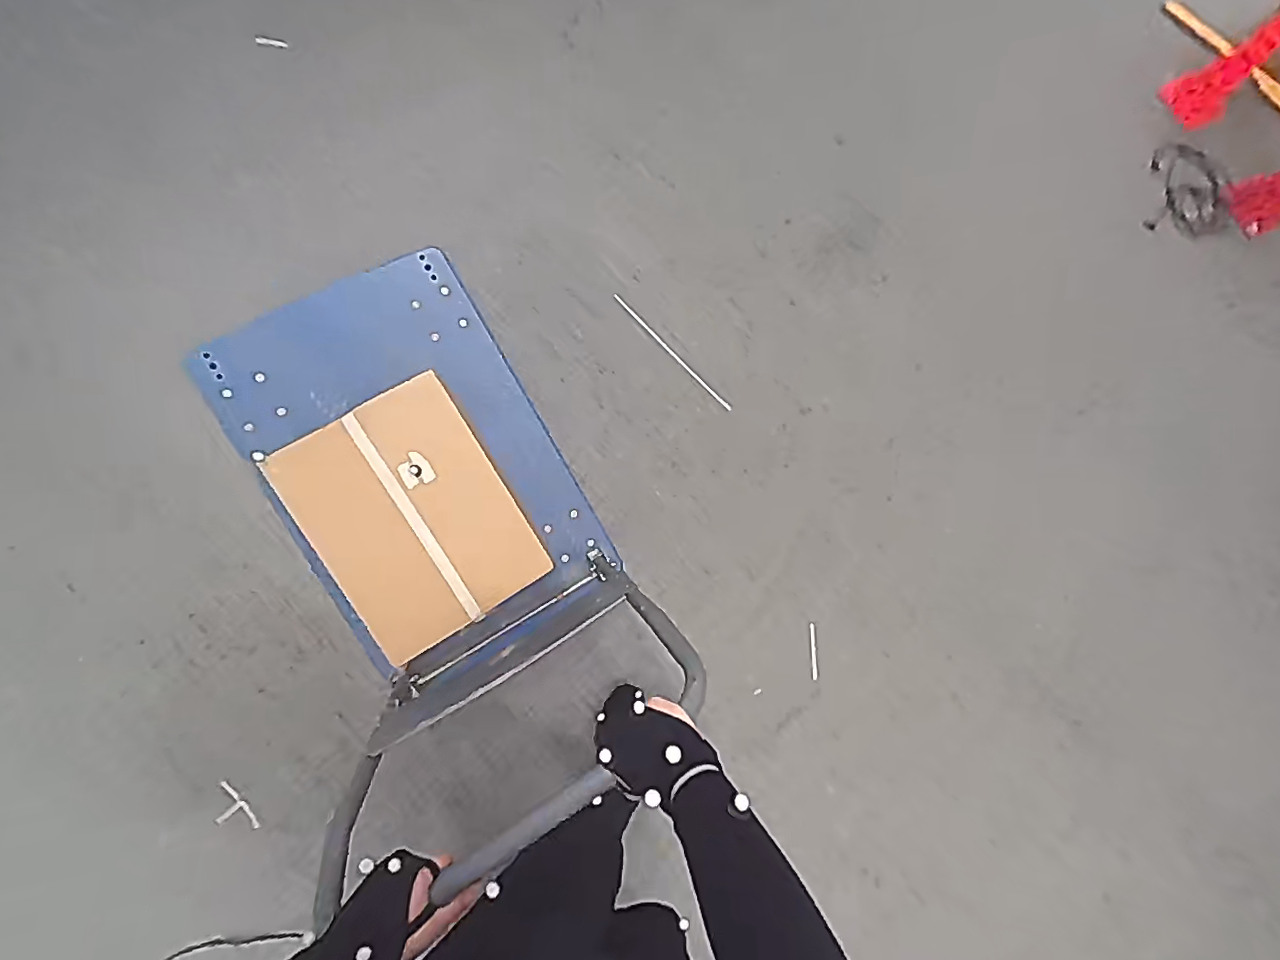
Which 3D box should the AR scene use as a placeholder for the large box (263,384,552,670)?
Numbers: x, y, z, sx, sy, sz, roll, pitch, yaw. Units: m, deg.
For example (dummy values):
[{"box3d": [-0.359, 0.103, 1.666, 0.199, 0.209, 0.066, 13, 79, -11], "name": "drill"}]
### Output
[{"box3d": [-0.410, 0.082, 1.064, 0.320, 0.320, 0.408, -33, 95, -11], "name": "large box"}]
